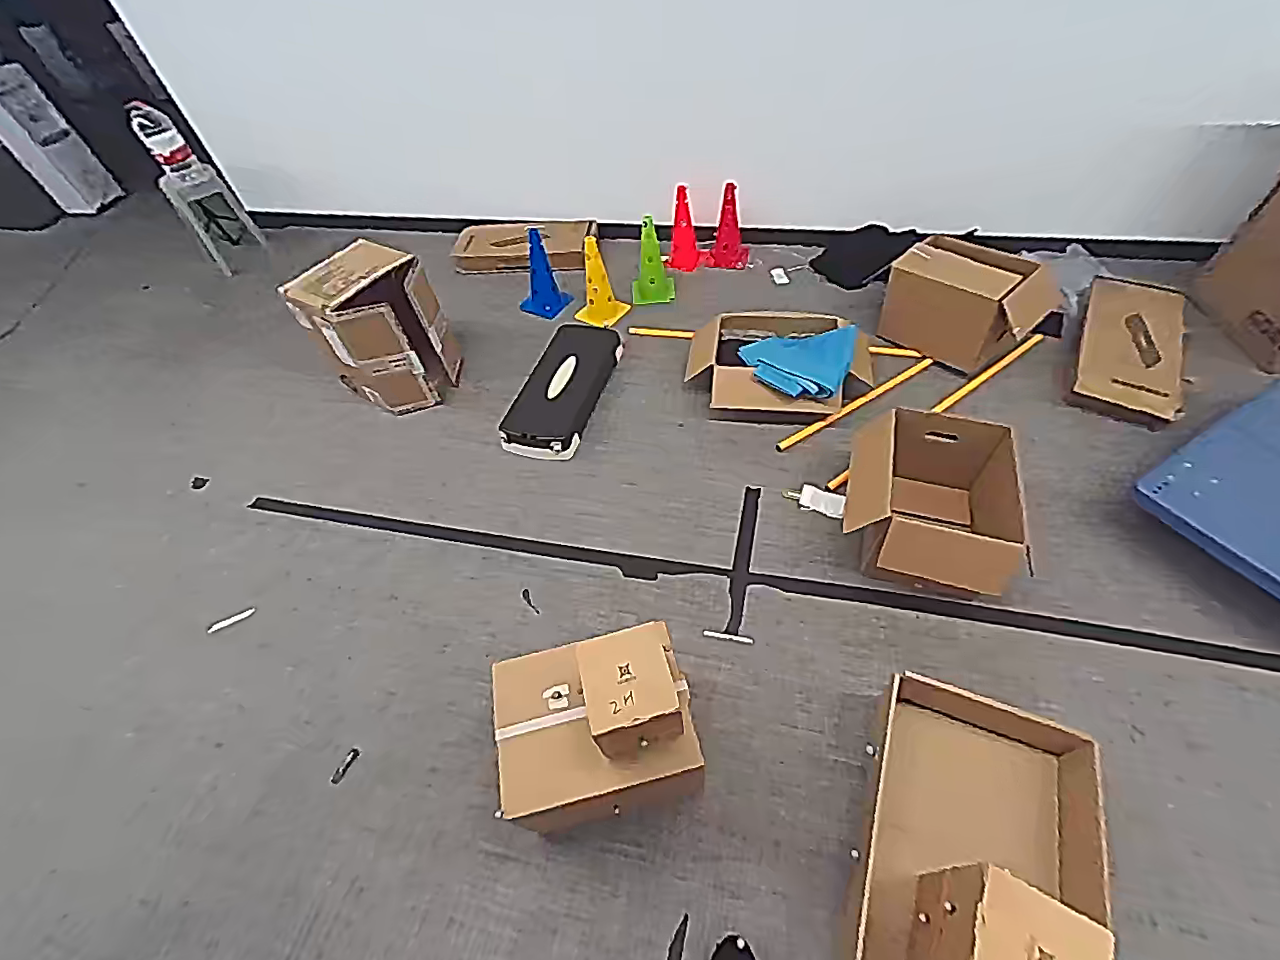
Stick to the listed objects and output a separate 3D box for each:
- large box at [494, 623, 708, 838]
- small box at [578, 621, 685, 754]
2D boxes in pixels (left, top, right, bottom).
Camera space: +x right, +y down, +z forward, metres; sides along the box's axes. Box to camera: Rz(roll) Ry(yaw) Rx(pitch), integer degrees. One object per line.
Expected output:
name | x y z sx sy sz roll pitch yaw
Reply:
large box | -0.082 0.578 1.240 0.408 0.320 0.320 -14 51 -4
small box | -0.015 0.406 1.054 0.168 0.176 0.179 -15 52 -4
